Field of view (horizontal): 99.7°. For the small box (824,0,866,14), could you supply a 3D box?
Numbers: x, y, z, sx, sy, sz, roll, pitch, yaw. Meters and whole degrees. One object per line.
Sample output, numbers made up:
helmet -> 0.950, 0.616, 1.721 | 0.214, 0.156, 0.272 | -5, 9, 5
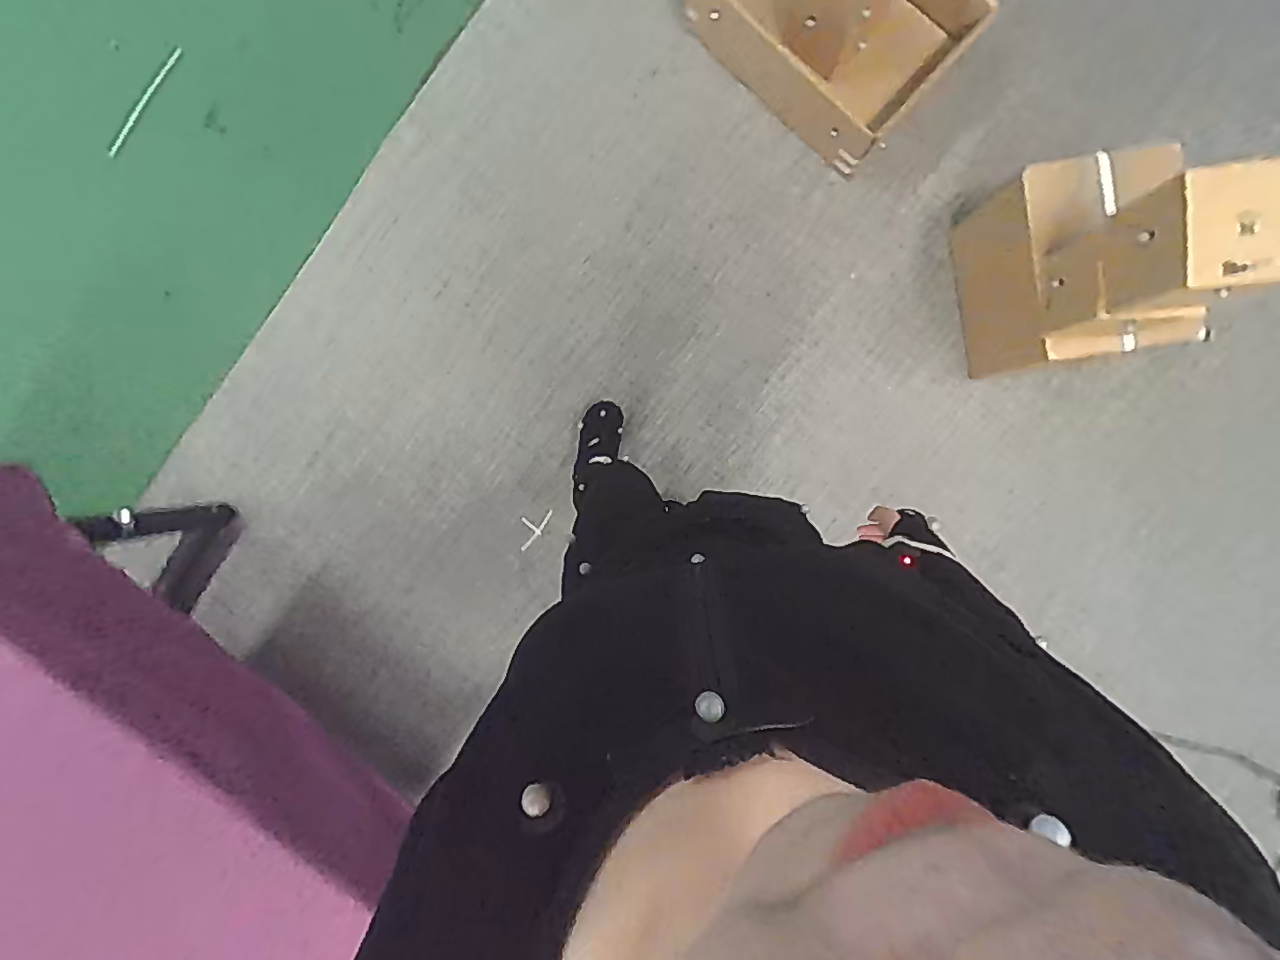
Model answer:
small box -> 0.452, -1.131, 1.119 | 0.179, 0.176, 0.168 | 45, 95, 3

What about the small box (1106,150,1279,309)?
small box -> 0.893, -0.389, 0.865 | 0.168, 0.176, 0.179 | -4, 92, 8

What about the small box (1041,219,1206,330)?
small box -> 0.912, -0.386, 1.029 | 0.179, 0.176, 0.168 | 0, 93, 7

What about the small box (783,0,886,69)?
small box -> 0.466, -1.140, 1.282 | 0.179, 0.176, 0.168 | 44, 96, 1
